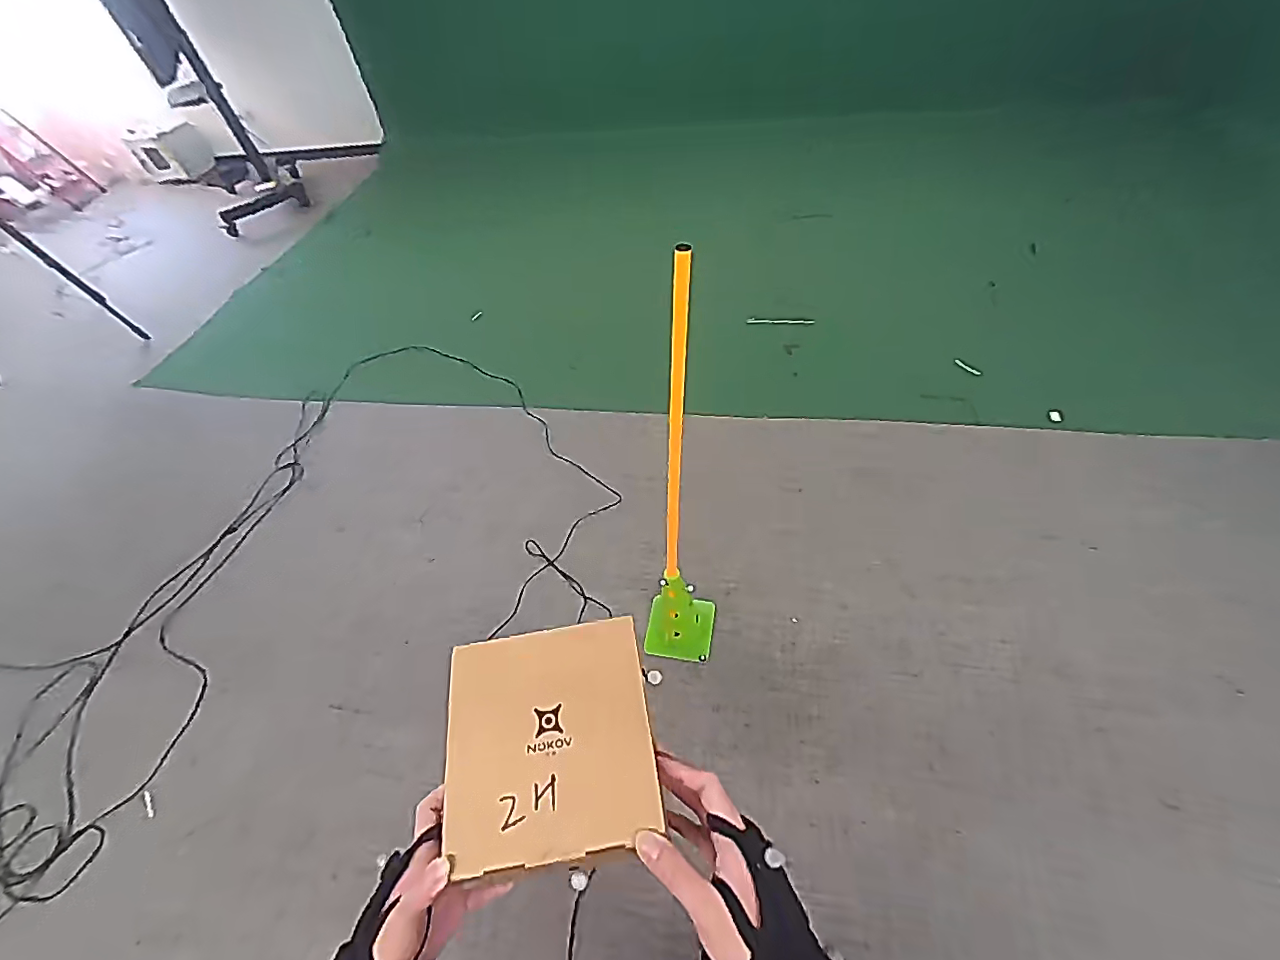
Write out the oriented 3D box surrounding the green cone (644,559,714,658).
[{"bbox_3d":[0.099,0.332,1.533,0.202,0.368,0.200,4,51,13],"label":"green cone"}]
